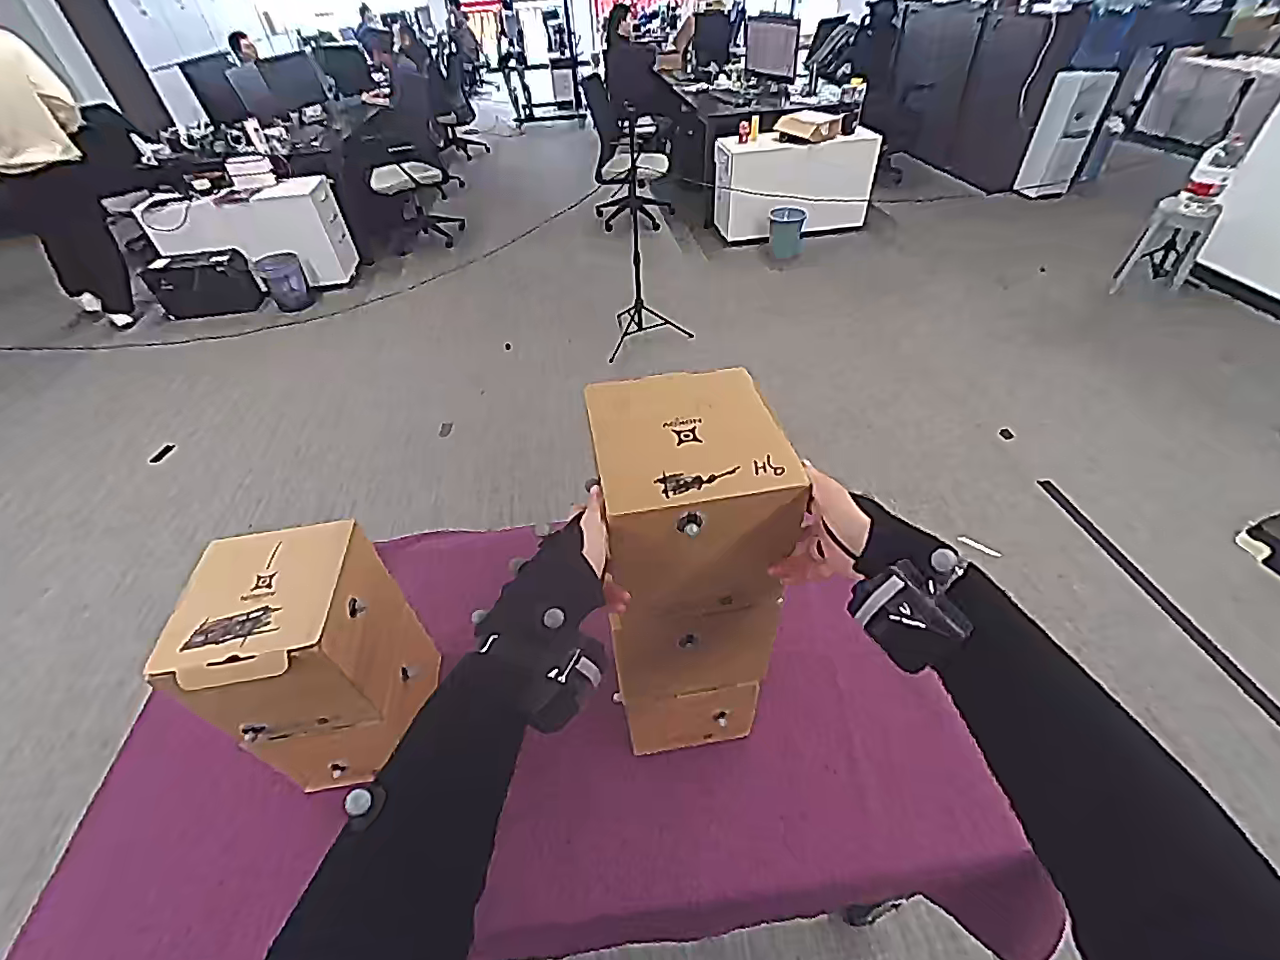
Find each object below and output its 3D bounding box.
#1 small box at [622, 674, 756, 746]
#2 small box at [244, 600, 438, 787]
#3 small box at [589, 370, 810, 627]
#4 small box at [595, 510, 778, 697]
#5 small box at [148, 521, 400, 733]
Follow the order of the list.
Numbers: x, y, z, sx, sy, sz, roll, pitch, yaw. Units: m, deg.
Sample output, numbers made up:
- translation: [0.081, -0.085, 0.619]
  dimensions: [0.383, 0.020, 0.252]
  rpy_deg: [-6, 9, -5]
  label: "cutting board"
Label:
- translation: [0.056, 0.253, 0.759]
  dimensions: [0.168, 0.176, 0.179]
  rpy_deg: [-7, 44, -4]
  label: "small box"
- translation: [-0.392, 0.295, 0.750]
  dimensions: [0.168, 0.176, 0.179]
  rpy_deg: [-8, 45, -4]
  label: "small box"
- translation: [0.044, 0.016, 0.532]
  dimensions: [0.168, 0.176, 0.179]
  rpy_deg: [-8, 44, -5]
  label: "small box"
- translation: [0.047, 0.138, 0.643]
  dimensions: [0.179, 0.176, 0.168]
  rpy_deg: [-8, 45, -5]
  label: "small box"
- translation: [-0.401, 0.177, 0.636]
  dimensions: [0.168, 0.176, 0.179]
  rpy_deg: [-9, 44, -6]
  label: "small box"
